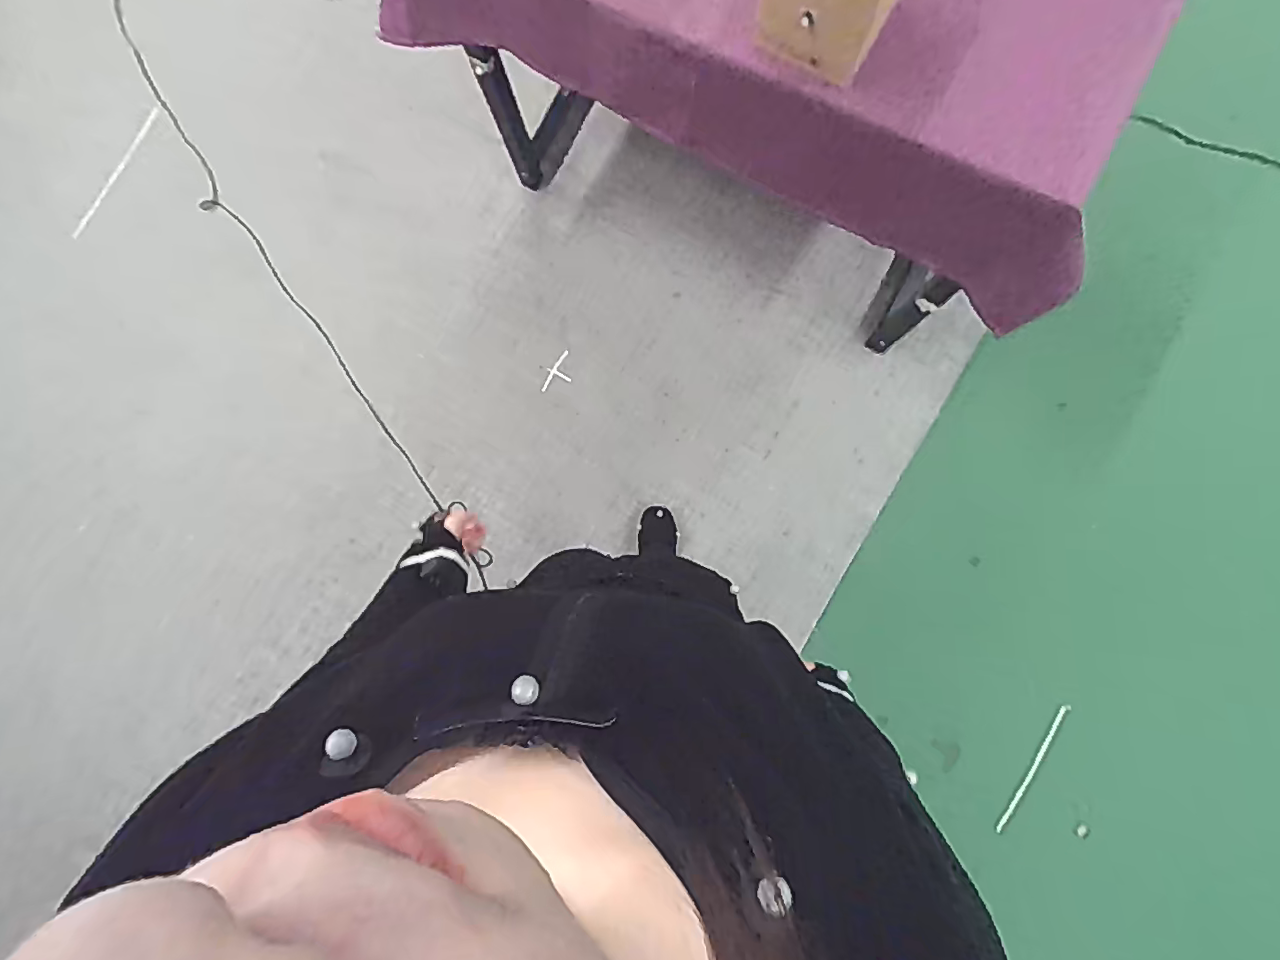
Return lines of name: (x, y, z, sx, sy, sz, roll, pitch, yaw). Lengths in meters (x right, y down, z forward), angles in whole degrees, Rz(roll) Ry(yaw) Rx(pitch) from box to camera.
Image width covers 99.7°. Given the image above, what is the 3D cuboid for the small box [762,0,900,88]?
small box: (0.288, -0.716, 0.766, 0.168, 0.176, 0.179, 31, 87, 4)
